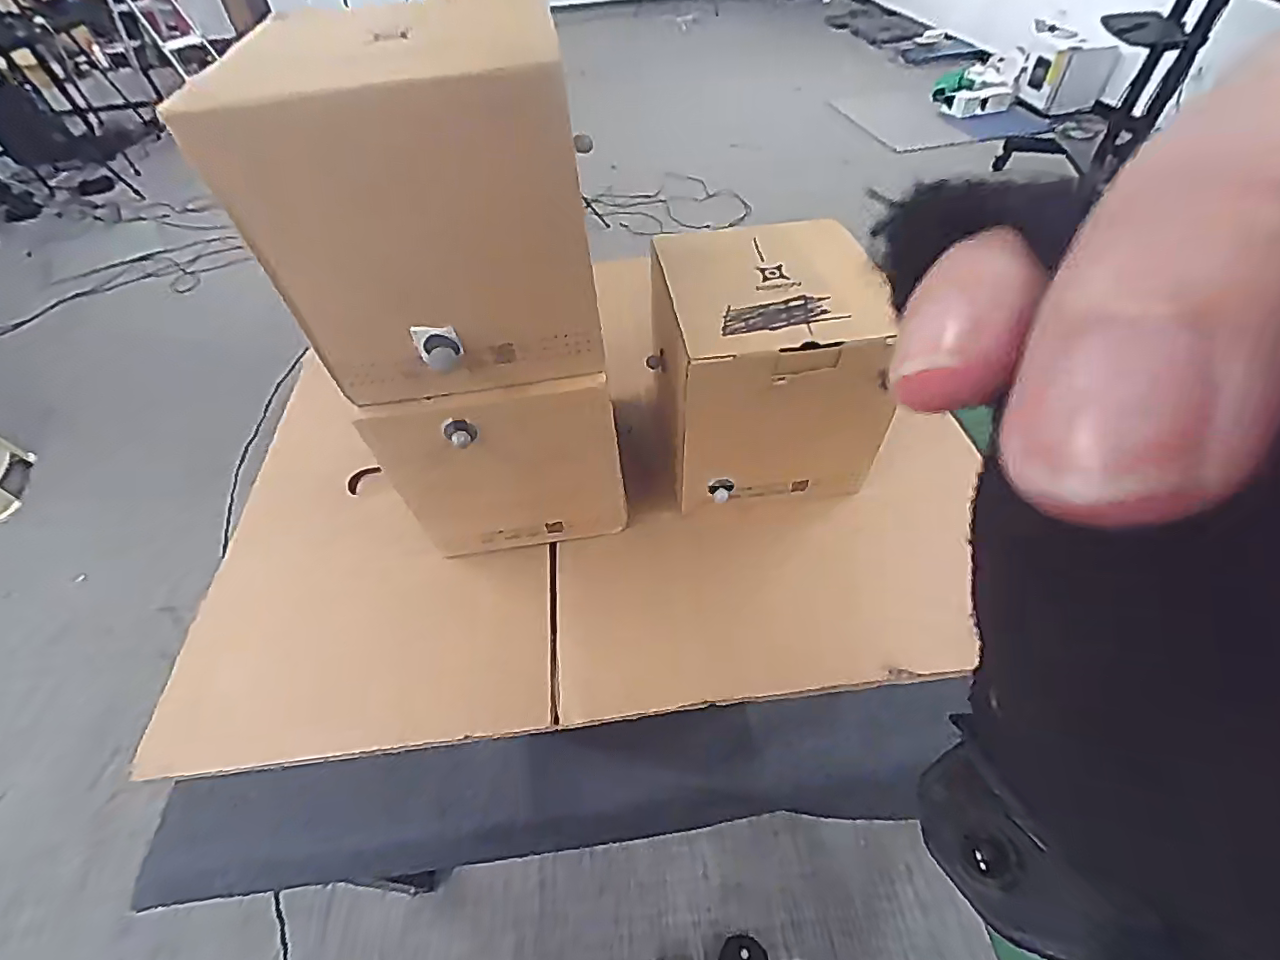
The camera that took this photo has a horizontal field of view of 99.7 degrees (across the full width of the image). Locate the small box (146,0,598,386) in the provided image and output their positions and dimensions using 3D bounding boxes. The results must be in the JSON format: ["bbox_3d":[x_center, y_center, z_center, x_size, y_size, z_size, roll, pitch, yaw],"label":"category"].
[{"bbox_3d":[-0.123,-0.184,0.330,0.168,0.176,0.179,-10,52,-3],"label":"small box"}]

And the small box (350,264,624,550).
[{"bbox_3d":[-0.109,-0.064,0.462,0.168,0.176,0.179,-9,50,0],"label":"small box"}]
